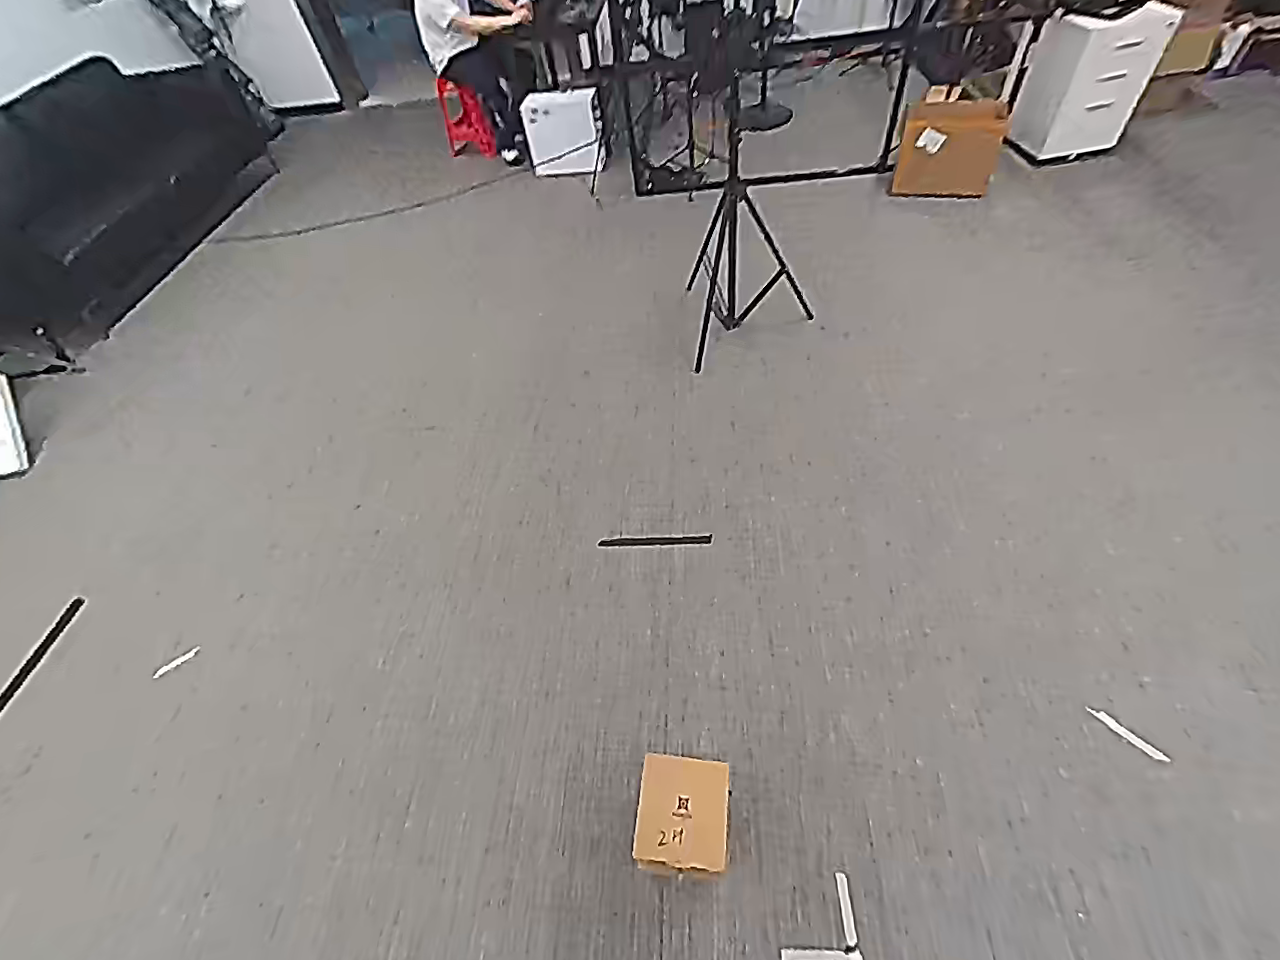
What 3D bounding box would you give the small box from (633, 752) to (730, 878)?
[{"bbox_3d":[0.088,0.652,1.052,0.168,0.176,0.179,1,52,11],"label":"small box"}]
